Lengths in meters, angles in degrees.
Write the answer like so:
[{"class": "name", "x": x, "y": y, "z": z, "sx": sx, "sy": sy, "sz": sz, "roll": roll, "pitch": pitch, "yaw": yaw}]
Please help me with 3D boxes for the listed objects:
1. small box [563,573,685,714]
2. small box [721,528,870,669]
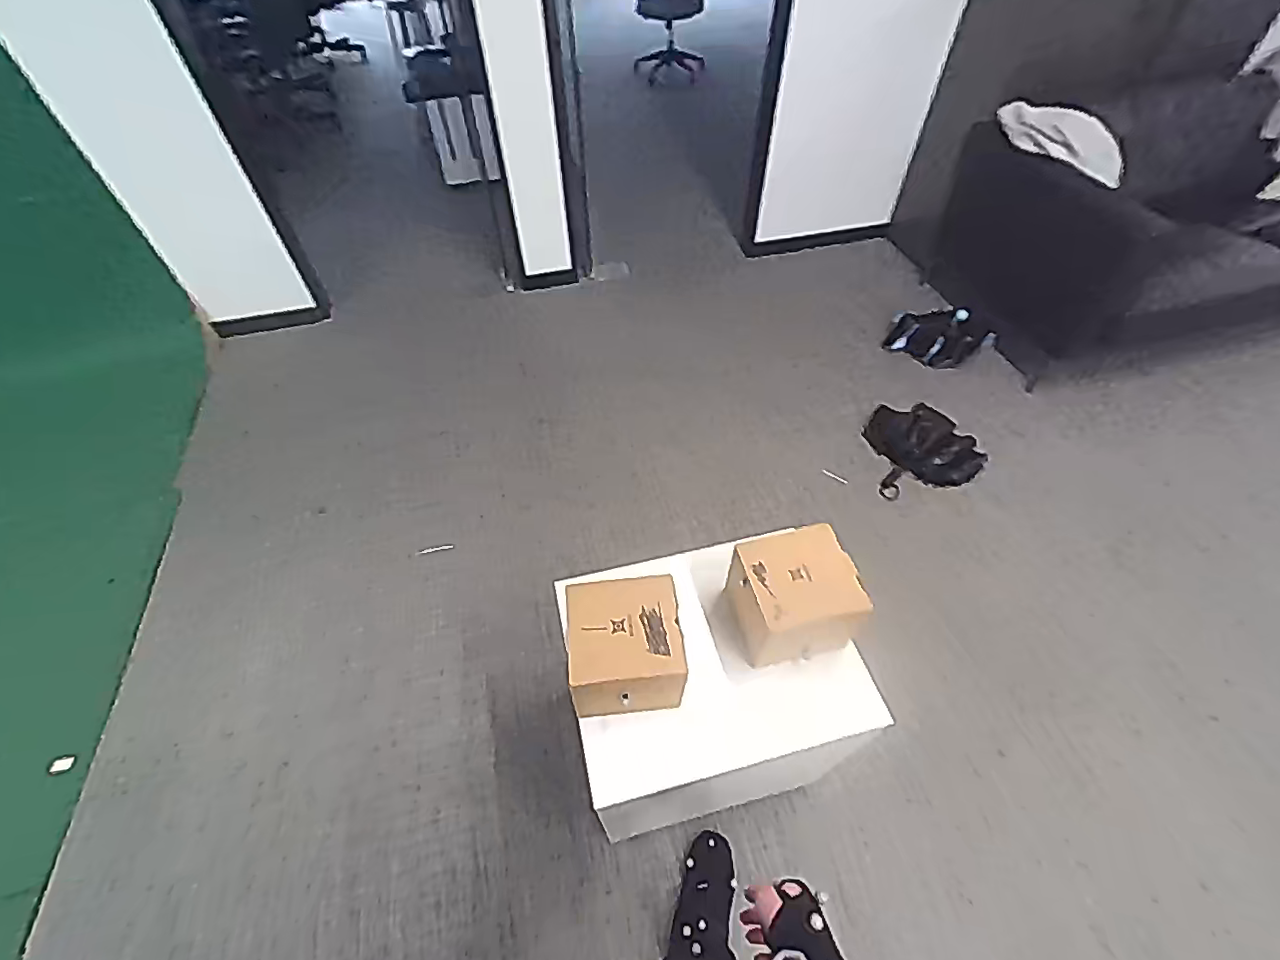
[{"class": "small box", "x": -0.032, "y": 0.267, "z": 0.876, "sx": 0.179, "sy": 0.176, "sz": 0.168, "roll": -3, "pitch": 51, "yaw": -5}, {"class": "small box", "x": 0.255, "y": 0.207, "z": 0.937, "sx": 0.179, "sy": 0.176, "sz": 0.168, "roll": -9, "pitch": 52, "yaw": -9}]
